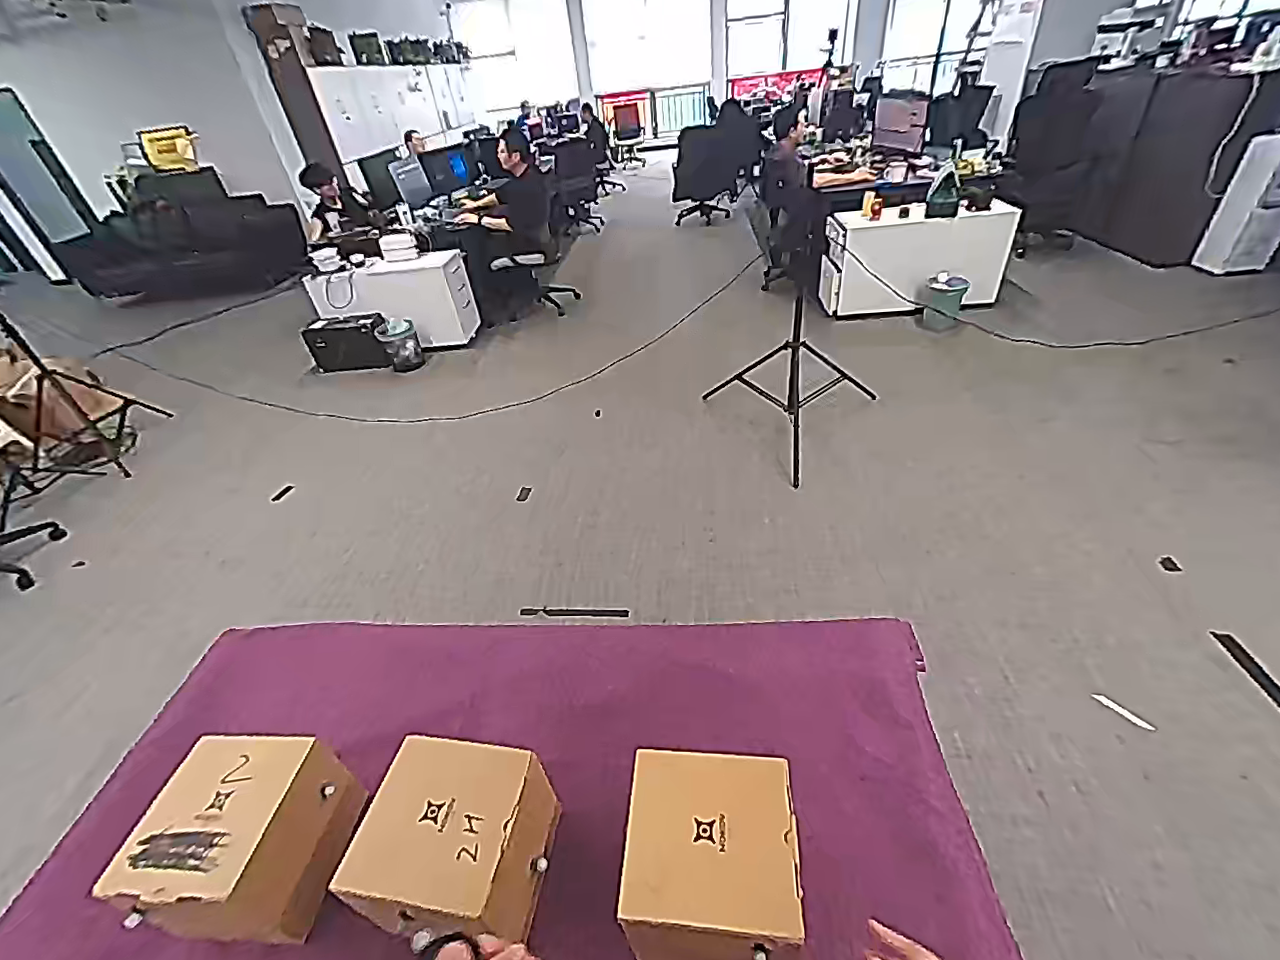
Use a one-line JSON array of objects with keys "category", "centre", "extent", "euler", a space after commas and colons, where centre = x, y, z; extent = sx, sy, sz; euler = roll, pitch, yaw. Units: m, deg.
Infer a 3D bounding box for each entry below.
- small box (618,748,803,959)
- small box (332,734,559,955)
[{"category": "small box", "centre": [0.082, 0.429, 0.610], "extent": [0.179, 0.176, 0.168], "euler": [-1, 36, 9]}, {"category": "small box", "centre": [-0.215, 0.436, 0.652], "extent": [0.179, 0.176, 0.168], "euler": [2, 38, 12]}]
